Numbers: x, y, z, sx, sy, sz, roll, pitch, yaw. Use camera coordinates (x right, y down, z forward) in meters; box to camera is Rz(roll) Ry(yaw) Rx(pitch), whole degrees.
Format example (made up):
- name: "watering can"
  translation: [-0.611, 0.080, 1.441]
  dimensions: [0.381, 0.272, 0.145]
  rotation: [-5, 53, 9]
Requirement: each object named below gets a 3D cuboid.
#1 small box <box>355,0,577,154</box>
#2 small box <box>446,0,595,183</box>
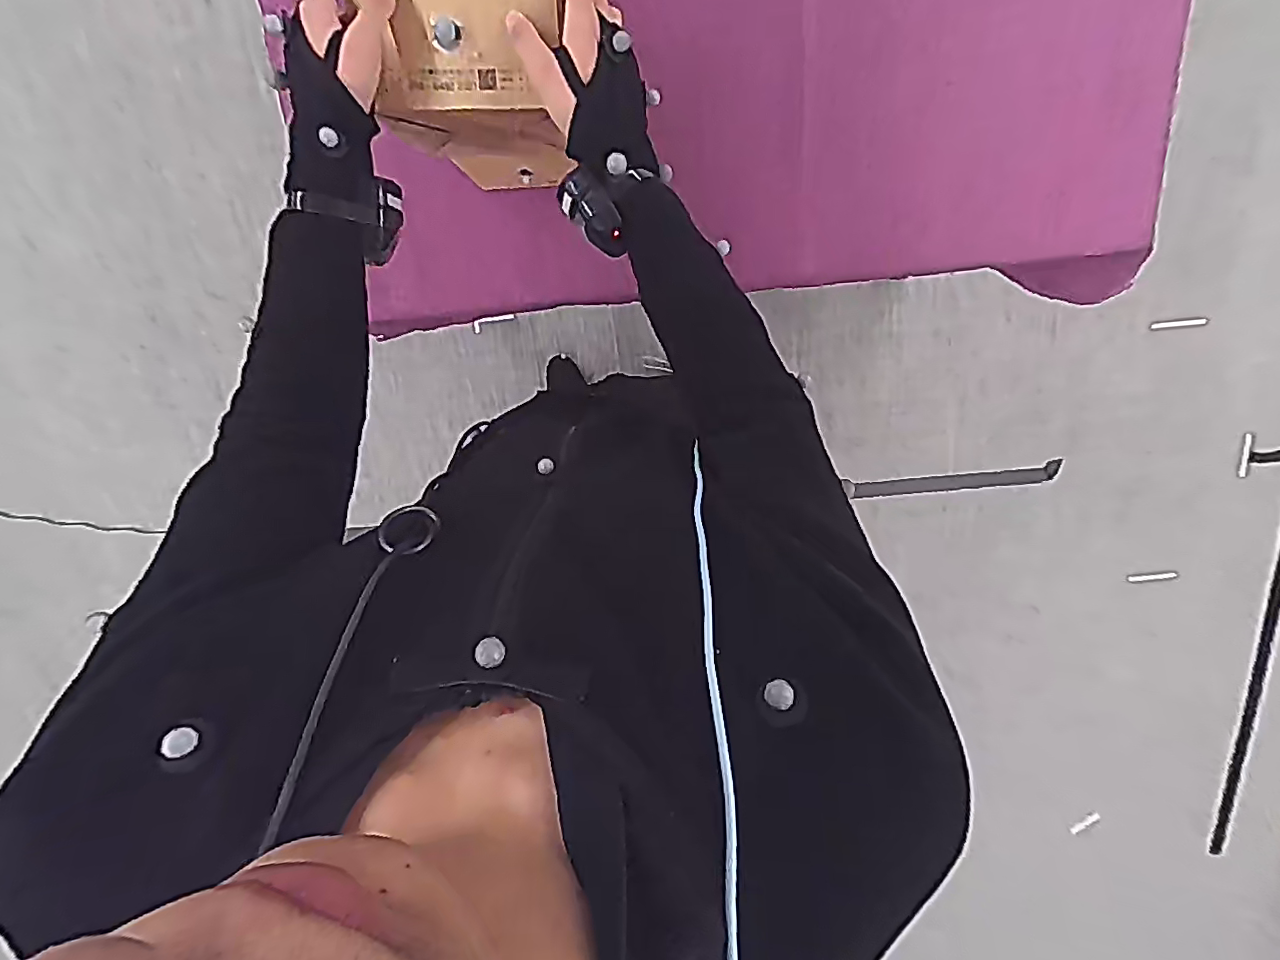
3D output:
- name: "small box"
  translation: [-0.147, -0.408, 0.492]
  dimensions: [0.168, 0.179, 0.176]
  rotation: [-2, 110, -2]
- name: "small box"
  translation: [-0.147, -0.480, 0.667]
  dimensions: [0.168, 0.176, 0.179]
  rotation: [-3, 106, -1]
